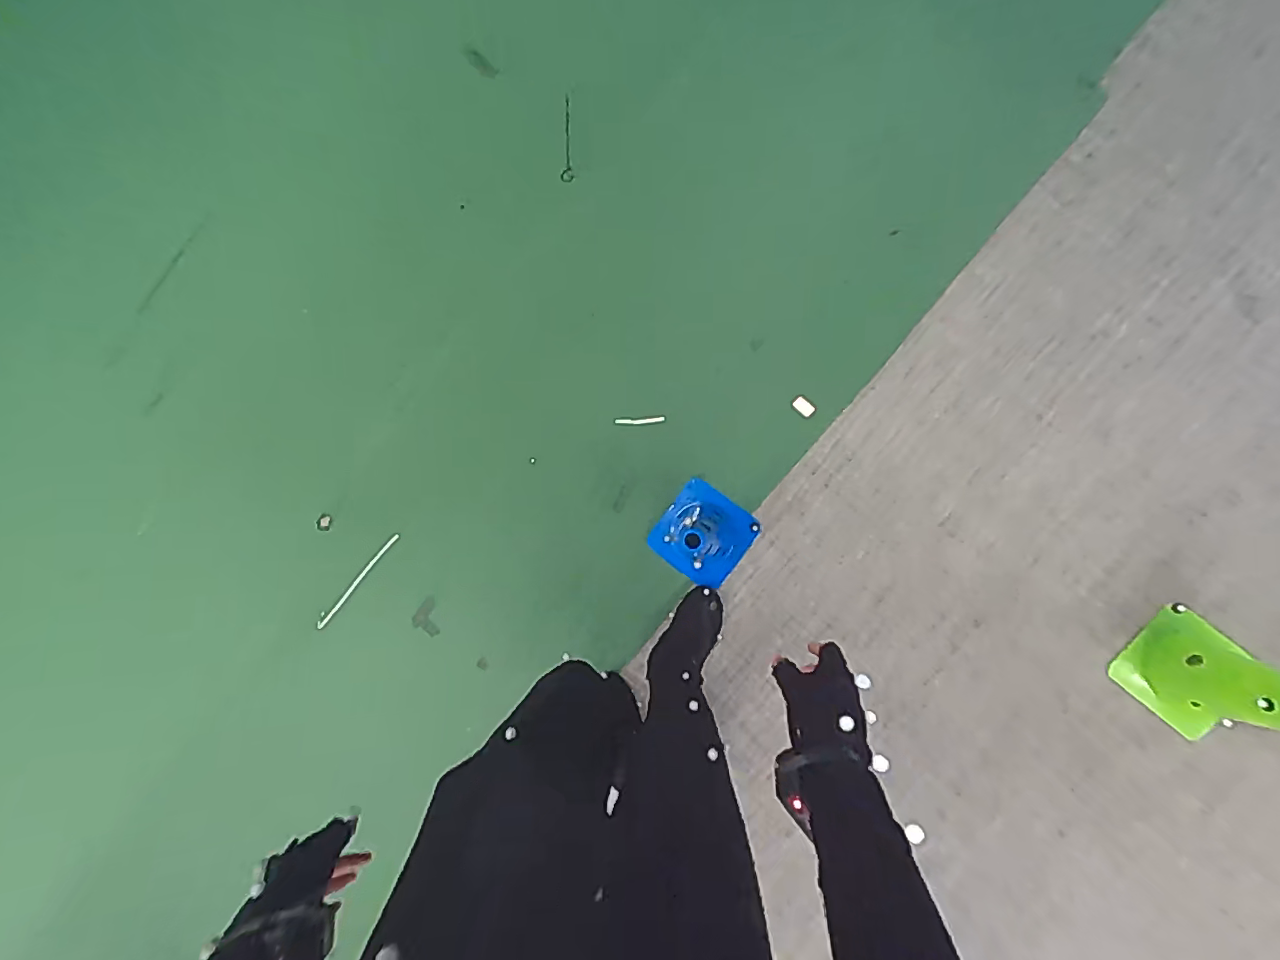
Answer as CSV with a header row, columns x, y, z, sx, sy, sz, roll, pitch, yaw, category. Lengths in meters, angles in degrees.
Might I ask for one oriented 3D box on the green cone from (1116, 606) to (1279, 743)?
x,y,z,sx,sy,sz,roll,pitch,yaw,category
1.033,0.363,0.873,0.202,0.368,0.200,40,93,9,green cone
